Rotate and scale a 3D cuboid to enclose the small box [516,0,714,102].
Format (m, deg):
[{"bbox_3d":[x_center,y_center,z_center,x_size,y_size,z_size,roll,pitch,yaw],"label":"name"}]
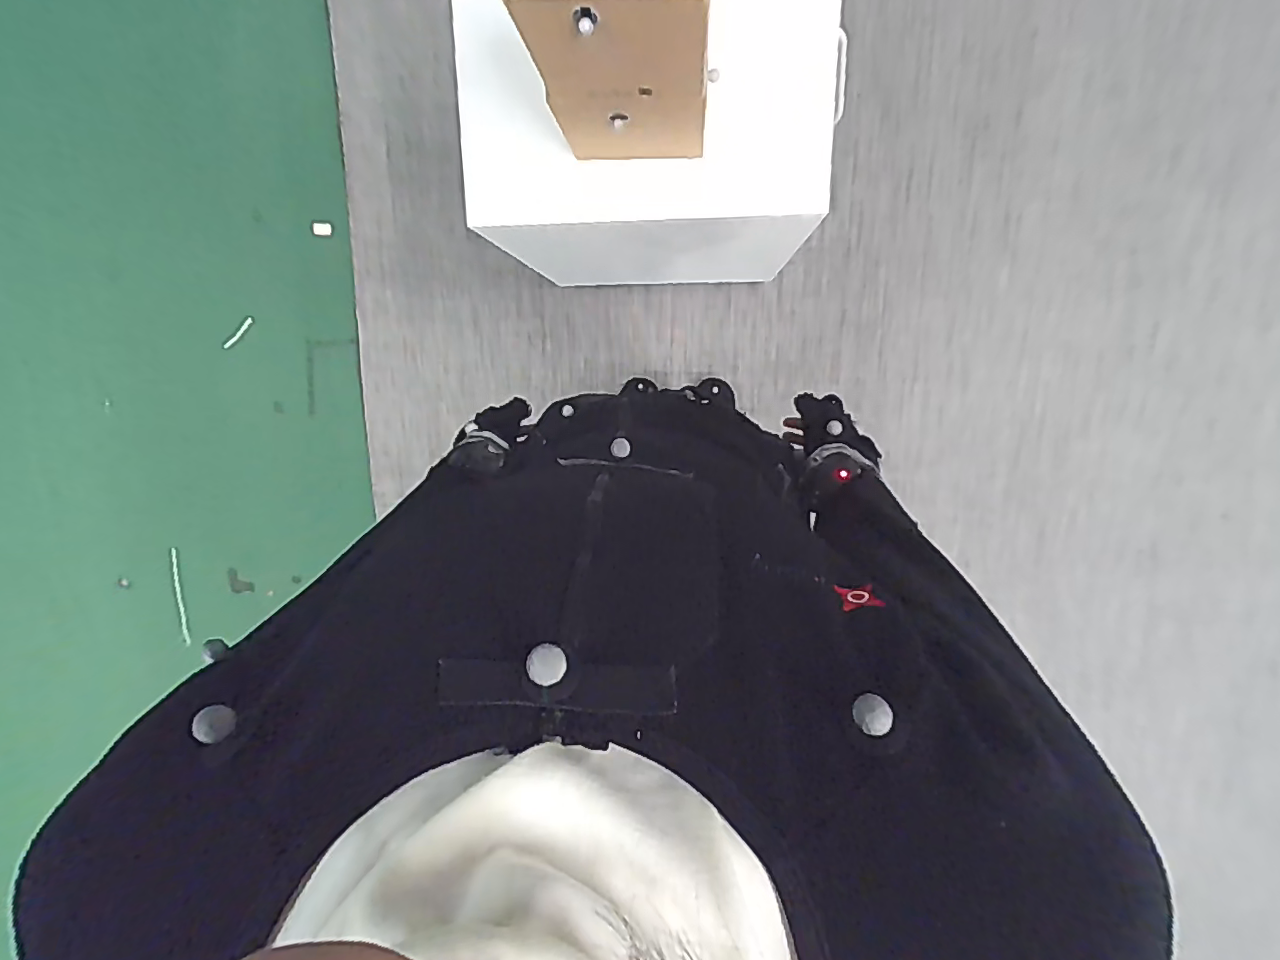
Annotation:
[{"bbox_3d":[-0.018,-0.481,0.490,0.168,0.176,0.179,1,102,4],"label":"small box"}]

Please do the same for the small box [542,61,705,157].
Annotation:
[{"bbox_3d":[-0.010,-0.508,0.648,0.179,0.176,0.168,3,101,5],"label":"small box"}]
